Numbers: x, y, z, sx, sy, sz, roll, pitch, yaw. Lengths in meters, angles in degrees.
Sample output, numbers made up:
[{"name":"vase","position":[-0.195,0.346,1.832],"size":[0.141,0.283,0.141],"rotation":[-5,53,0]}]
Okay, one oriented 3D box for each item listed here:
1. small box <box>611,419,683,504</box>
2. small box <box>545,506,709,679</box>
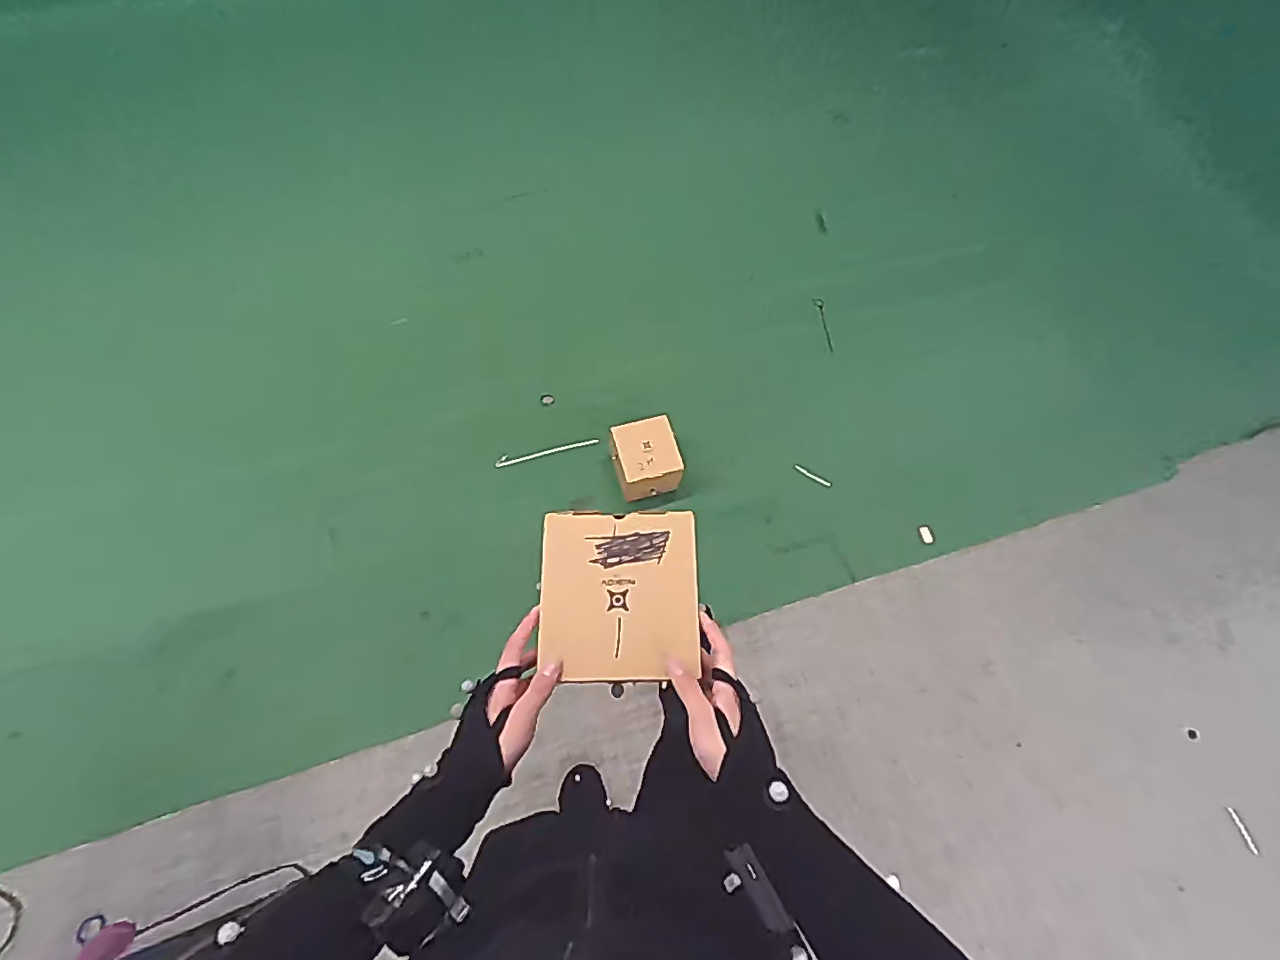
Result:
[{"name":"small box","position":[0.013,-0.051,1.572],"size":[0.168,0.176,0.179],"rotation":[-14,71,-9]},{"name":"small box","position":[-0.014,0.139,0.636],"size":[0.168,0.176,0.179],"rotation":[0,69,-1]}]
